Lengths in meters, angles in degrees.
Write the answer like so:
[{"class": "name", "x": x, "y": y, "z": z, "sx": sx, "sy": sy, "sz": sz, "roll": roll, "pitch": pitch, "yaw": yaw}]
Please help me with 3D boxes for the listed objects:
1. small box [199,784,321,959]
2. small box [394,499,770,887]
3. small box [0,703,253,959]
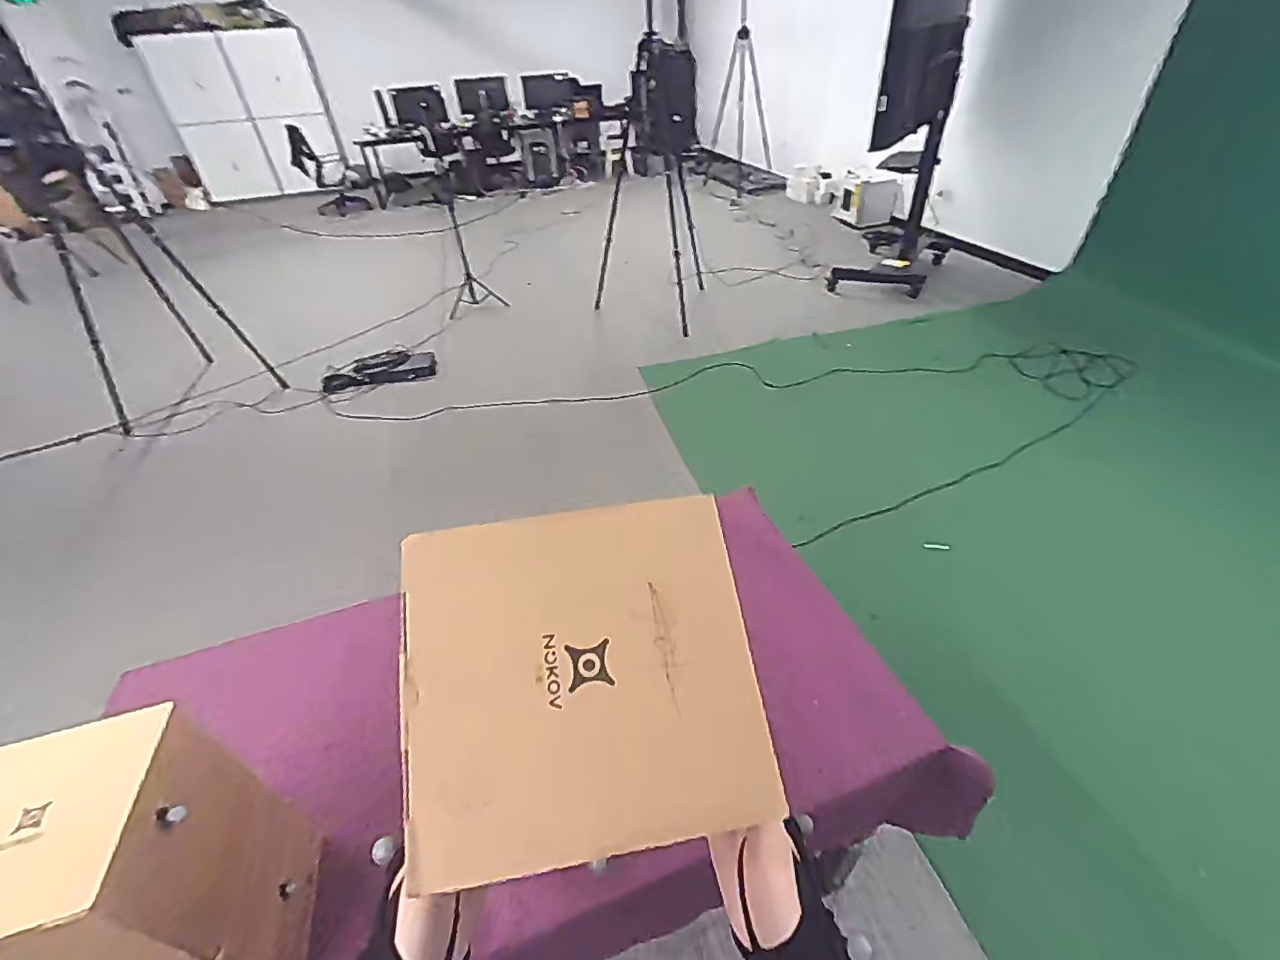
[{"class": "small box", "x": -0.487, "y": 0.480, "z": 0.602, "sx": 0.179, "sy": 0.176, "sz": 0.168, "roll": -14, "pitch": 40, "yaw": -11}, {"class": "small box", "x": -0.038, "y": 0.125, "z": 0.348, "sx": 0.179, "sy": 0.176, "sz": 0.168, "roll": -7, "pitch": 69, "yaw": -6}, {"class": "small box", "x": -0.504, "y": 0.350, "z": 0.506, "sx": 0.168, "sy": 0.176, "sz": 0.179, "roll": -14, "pitch": 41, "yaw": -10}]
